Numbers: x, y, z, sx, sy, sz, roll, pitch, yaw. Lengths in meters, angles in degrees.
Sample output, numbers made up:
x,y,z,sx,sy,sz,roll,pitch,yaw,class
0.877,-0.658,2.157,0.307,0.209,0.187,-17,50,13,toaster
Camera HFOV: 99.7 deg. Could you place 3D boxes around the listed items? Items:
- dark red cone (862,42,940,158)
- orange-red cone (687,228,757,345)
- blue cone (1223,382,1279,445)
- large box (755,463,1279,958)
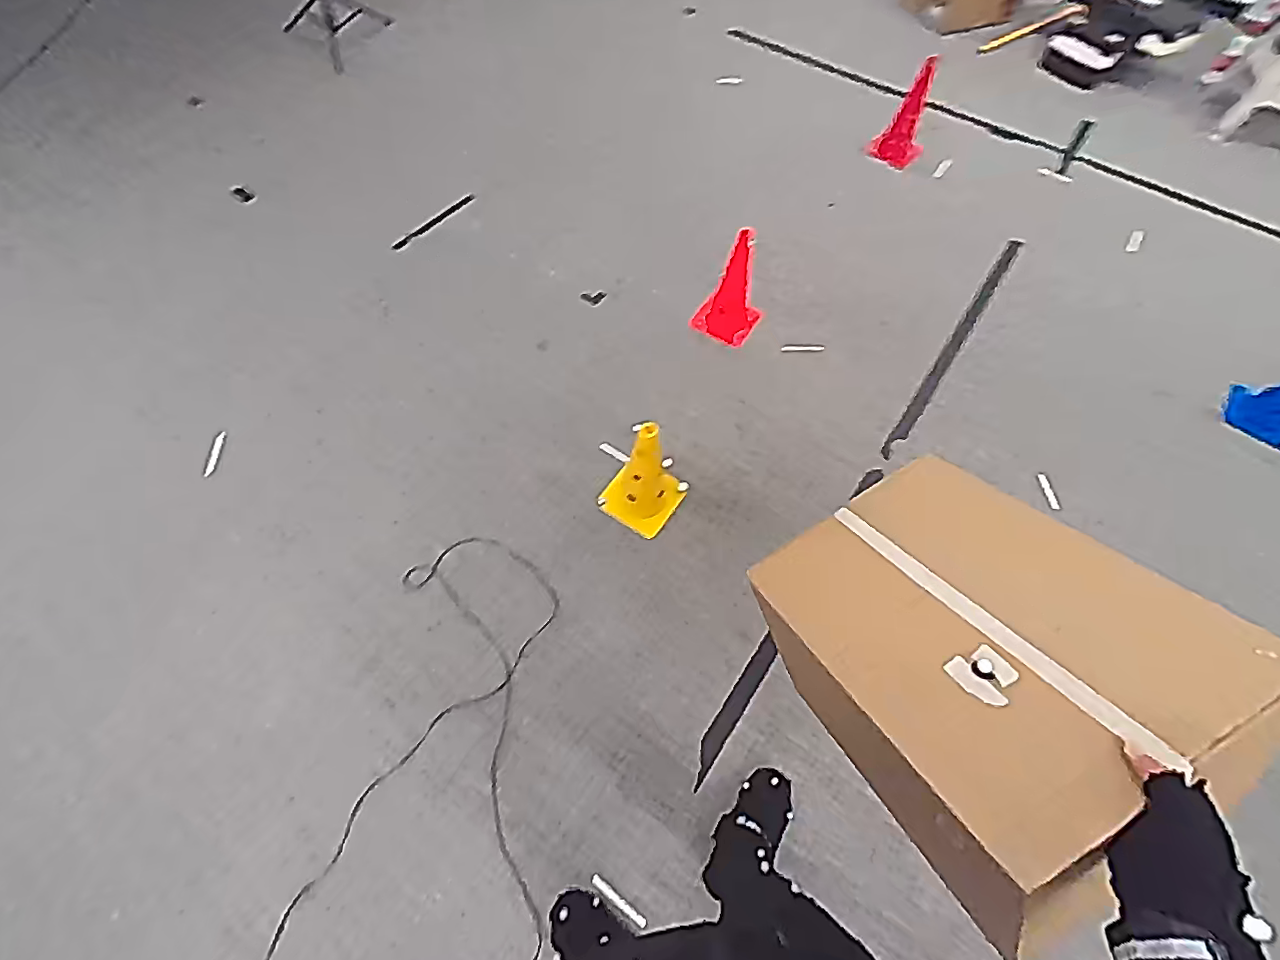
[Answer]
x,y,z,sx,sy,sz,roll,pitch,yaw,class
1.098,-1.550,2.206,0.201,0.394,0.202,39,68,15,dark red cone
0.290,-0.644,1.740,0.198,0.360,0.199,30,67,14,orange-red cone
2.041,-0.295,1.636,0.192,0.380,0.193,36,67,14,blue cone
0.408,0.249,0.671,0.320,0.320,0.408,-32,37,-5,large box
